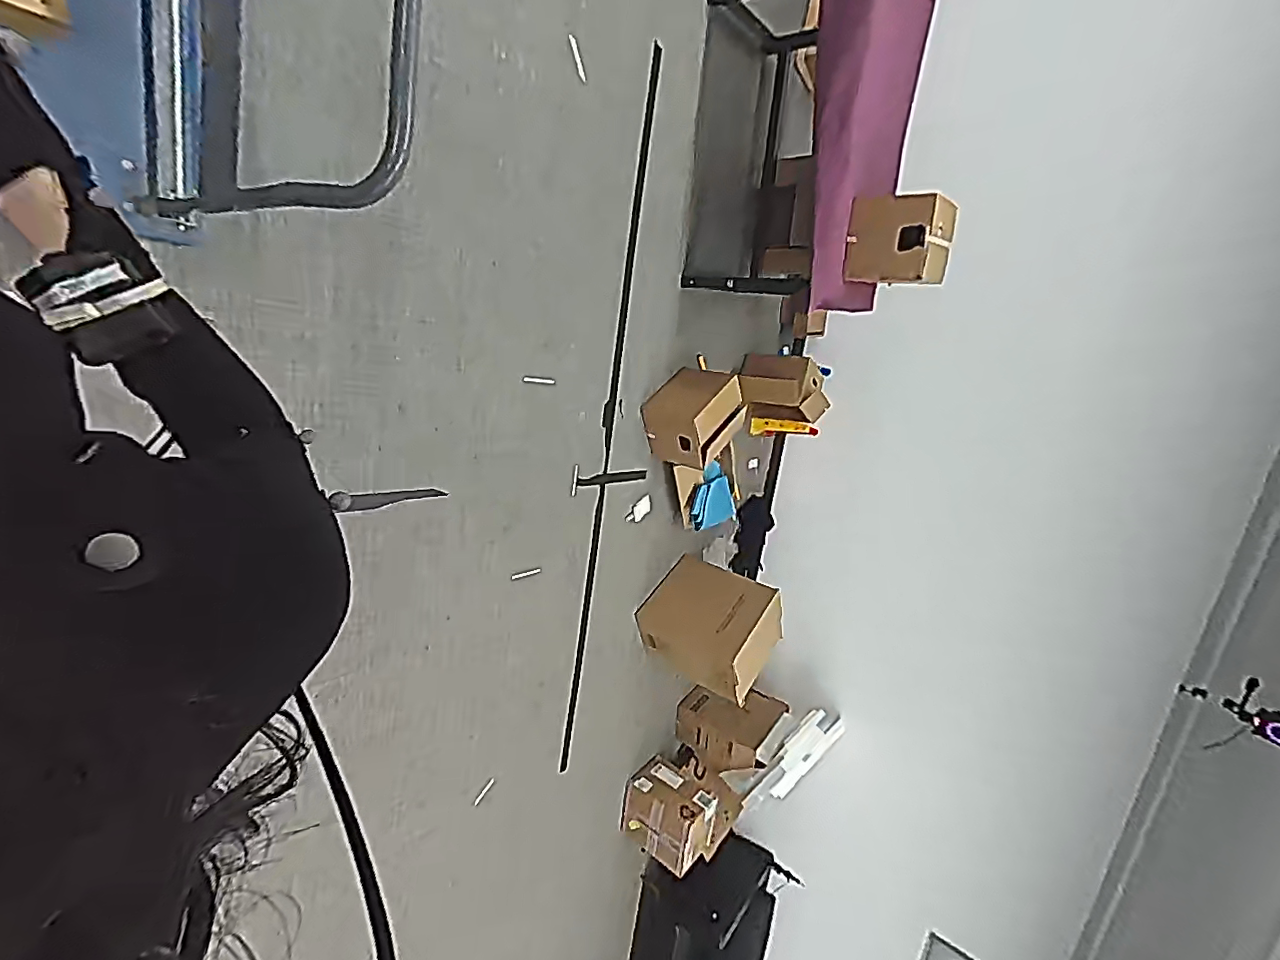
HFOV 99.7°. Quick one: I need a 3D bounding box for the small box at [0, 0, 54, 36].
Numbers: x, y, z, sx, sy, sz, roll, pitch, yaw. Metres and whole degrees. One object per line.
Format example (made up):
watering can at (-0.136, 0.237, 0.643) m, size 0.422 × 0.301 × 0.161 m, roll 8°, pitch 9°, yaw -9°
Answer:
small box at (-0.905, -0.730, 0.700) m, size 0.168 × 0.176 × 0.179 m, roll -13°, pitch 114°, yaw -52°
